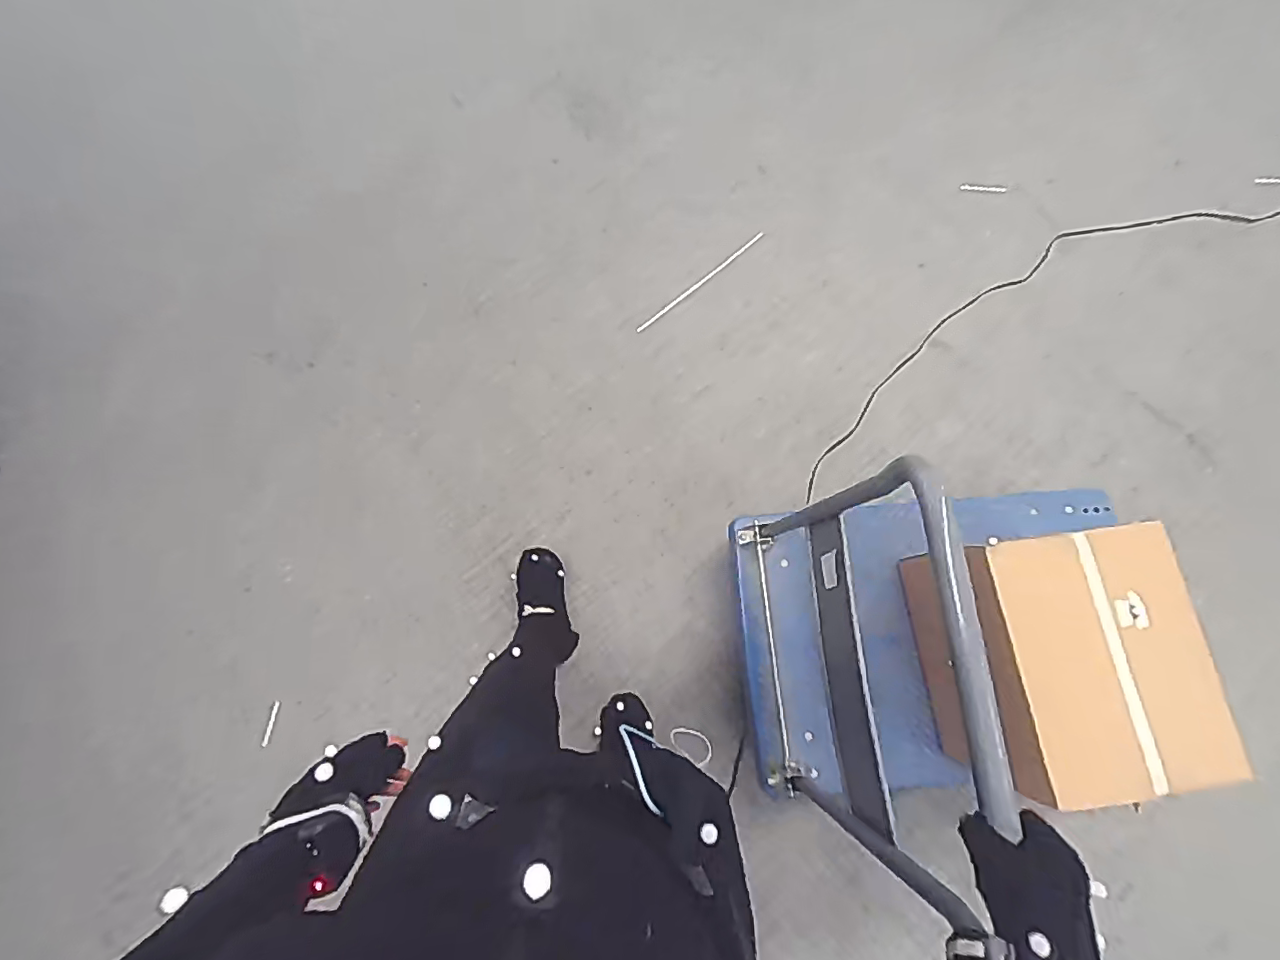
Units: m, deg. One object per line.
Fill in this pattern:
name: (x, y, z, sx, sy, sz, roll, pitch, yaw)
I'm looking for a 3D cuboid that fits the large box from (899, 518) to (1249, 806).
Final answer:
large box: (0.738, 0.311, 0.997, 0.320, 0.320, 0.408, -7, 76, -3)
